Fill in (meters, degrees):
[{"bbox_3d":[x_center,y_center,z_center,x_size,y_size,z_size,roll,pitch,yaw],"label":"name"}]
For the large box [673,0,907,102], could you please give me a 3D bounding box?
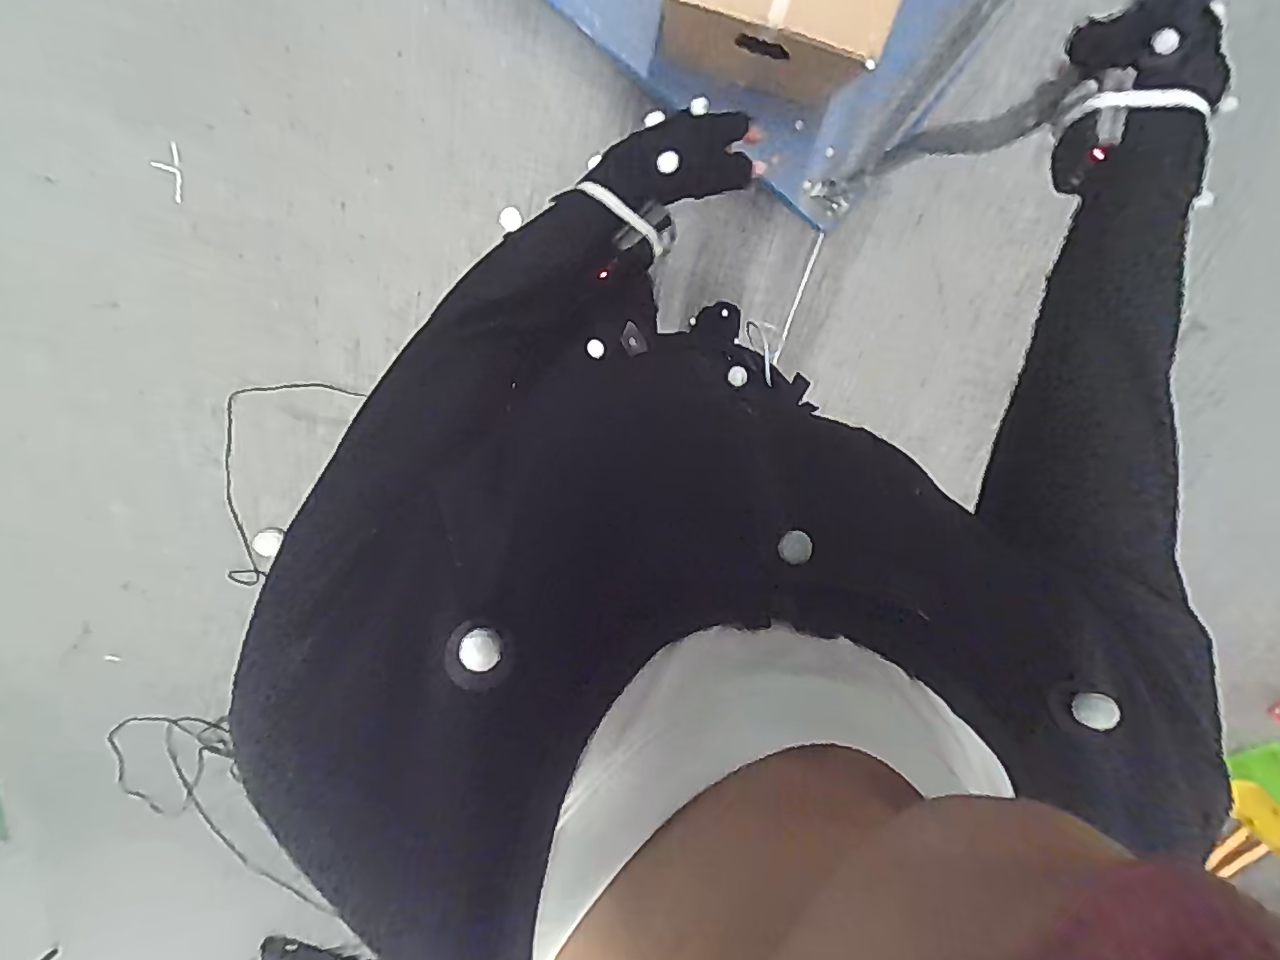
[{"bbox_3d":[0.249,-0.859,0.795,0.320,0.320,0.408,15,116,-4],"label":"large box"}]
